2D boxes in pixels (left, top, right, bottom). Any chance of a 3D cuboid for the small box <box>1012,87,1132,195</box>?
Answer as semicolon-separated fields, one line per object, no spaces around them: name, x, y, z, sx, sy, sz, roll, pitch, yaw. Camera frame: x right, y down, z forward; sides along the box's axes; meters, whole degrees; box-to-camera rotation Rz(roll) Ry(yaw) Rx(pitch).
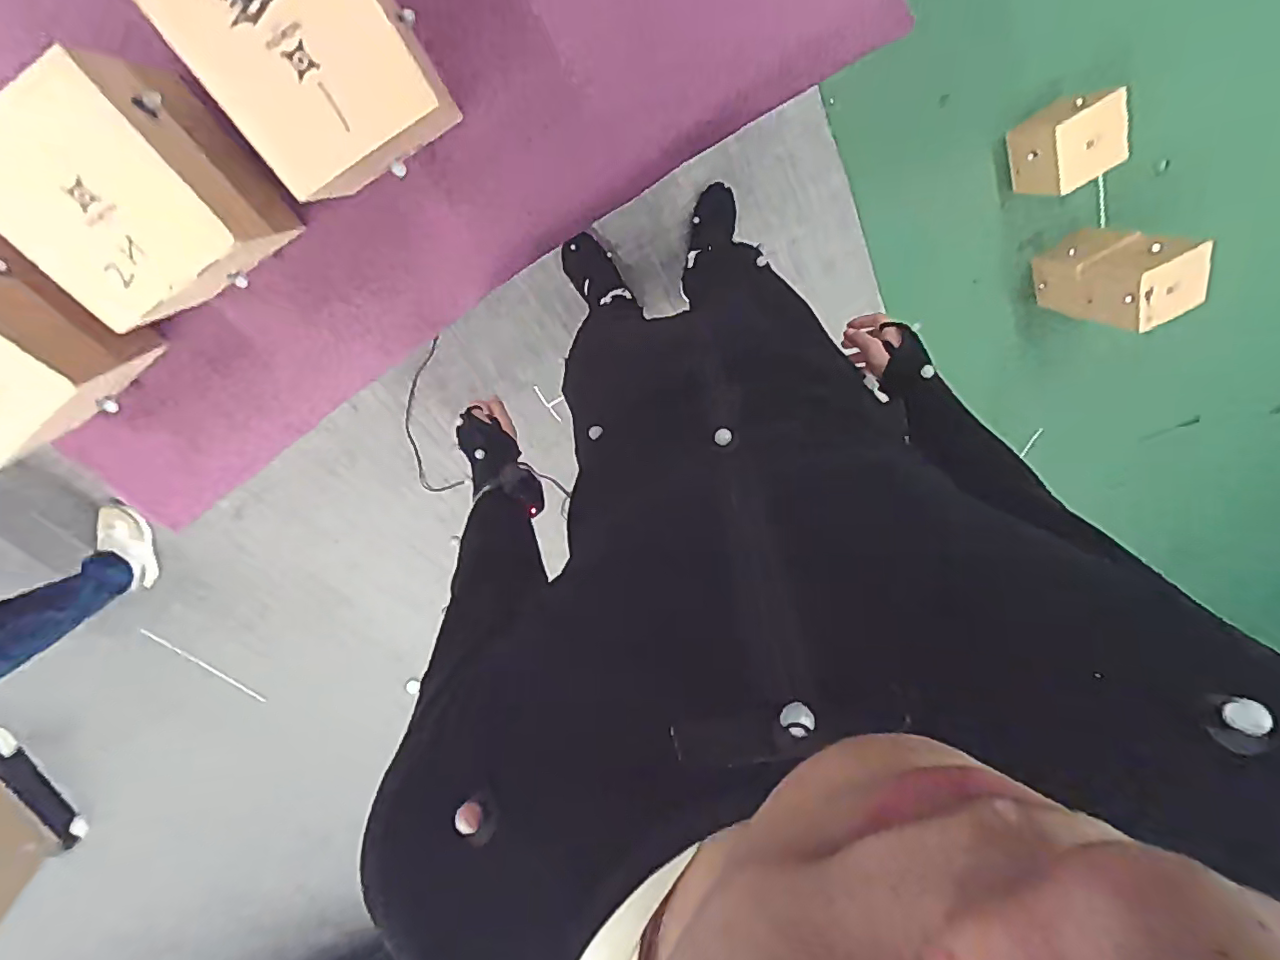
small box;1.073;-0.842;1.359;0.179;0.176;0.168;-30;120;7

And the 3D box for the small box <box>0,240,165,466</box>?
small box;-0.709;-0.145;0.603;0.168;0.176;0.179;-35;120;11

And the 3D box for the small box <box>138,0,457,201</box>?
small box;-0.304;-0.401;0.527;0.168;0.176;0.179;-29;121;7

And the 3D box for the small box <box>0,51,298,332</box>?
small box;-0.507;-0.285;0.557;0.168;0.176;0.179;-30;120;8

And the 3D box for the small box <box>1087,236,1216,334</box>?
small box;1.310;-0.509;1.397;0.179;0.176;0.168;-27;121;6
